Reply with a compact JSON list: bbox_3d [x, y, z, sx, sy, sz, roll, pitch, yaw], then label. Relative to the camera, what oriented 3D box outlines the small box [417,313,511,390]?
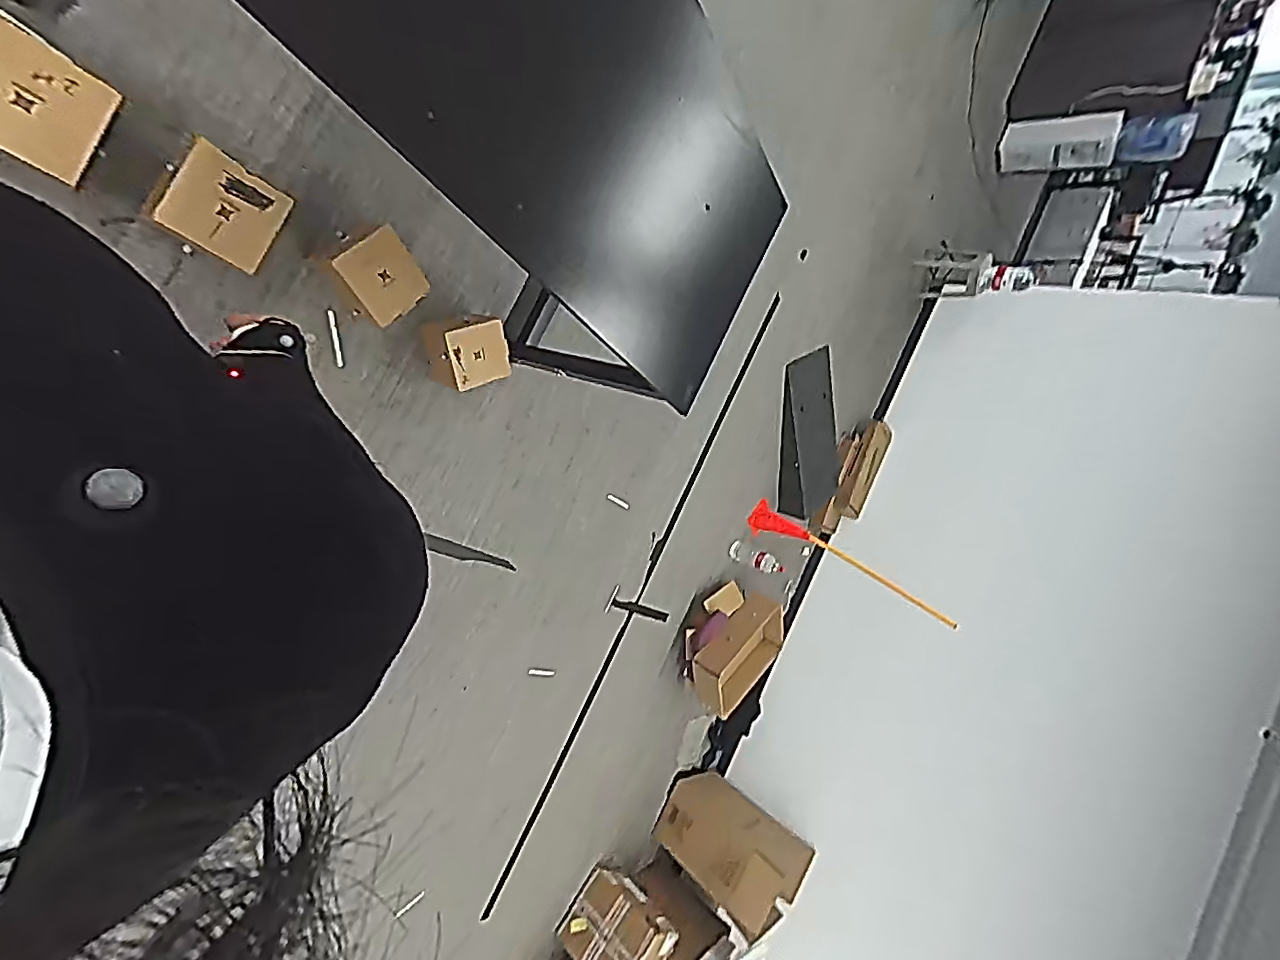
[{"bbox_3d":[-0.499,-0.372,1.537,0.179,0.176,0.168,-31,128,-37],"label":"small box"}]

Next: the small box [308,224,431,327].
[{"bbox_3d":[-0.653,-0.498,1.308,0.168,0.176,0.179,-50,137,-22],"label":"small box"}]

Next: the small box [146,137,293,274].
[{"bbox_3d":[-0.839,-0.539,1.075,0.168,0.176,0.179,31,84,-50],"label":"small box"}]
